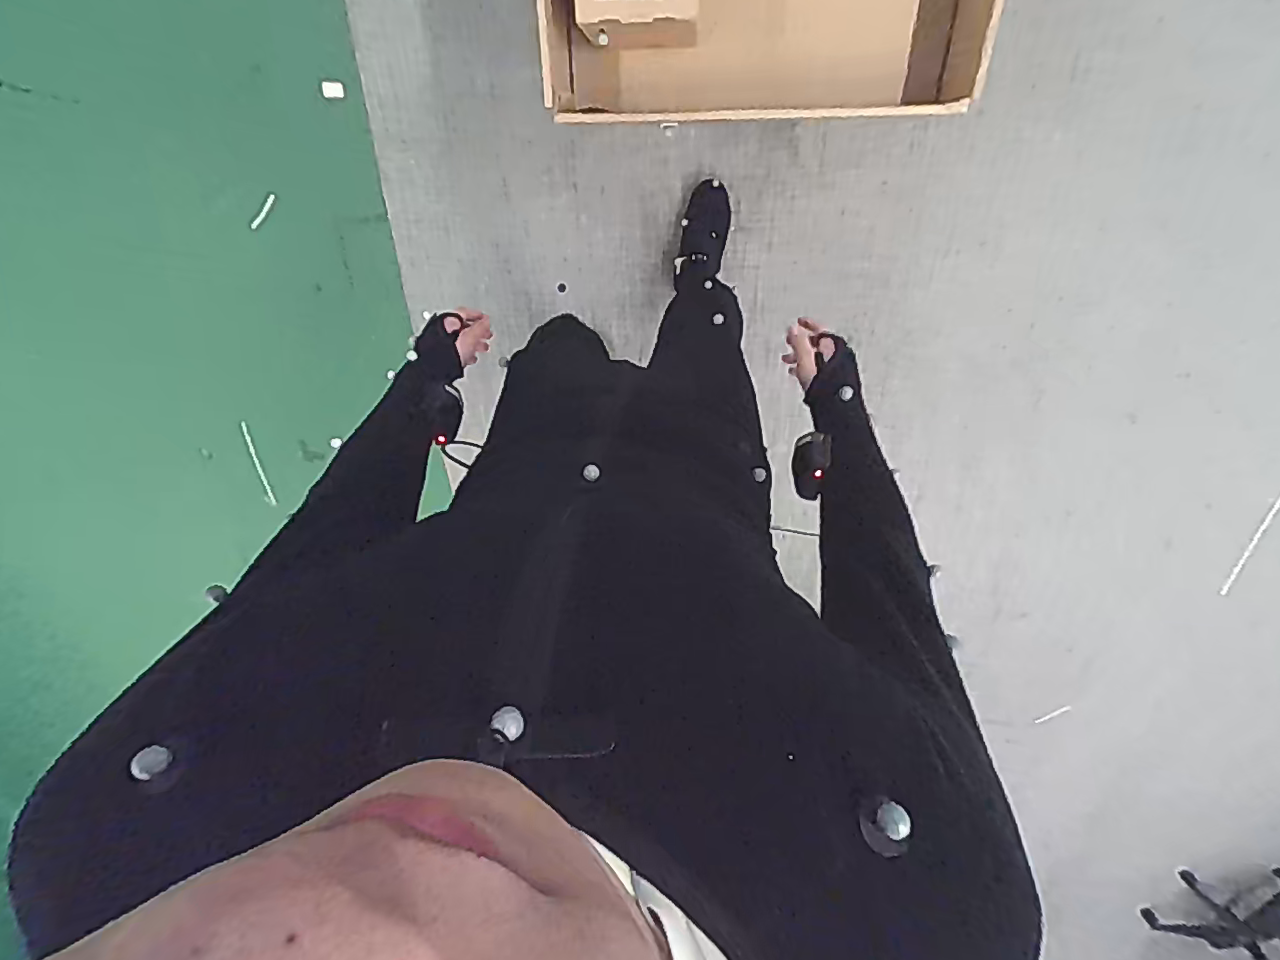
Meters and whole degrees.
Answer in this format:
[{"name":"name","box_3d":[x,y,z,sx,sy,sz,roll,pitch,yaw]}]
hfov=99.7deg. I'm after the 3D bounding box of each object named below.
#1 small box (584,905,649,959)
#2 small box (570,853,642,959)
[{"name":"small box","box_3d":[-0.064,1.368,1.577,0.168,0.176,0.179,-1,118,5]},{"name":"small box","box_3d":[-0.085,1.138,1.449,0.168,0.176,0.179,0,120,5]}]
